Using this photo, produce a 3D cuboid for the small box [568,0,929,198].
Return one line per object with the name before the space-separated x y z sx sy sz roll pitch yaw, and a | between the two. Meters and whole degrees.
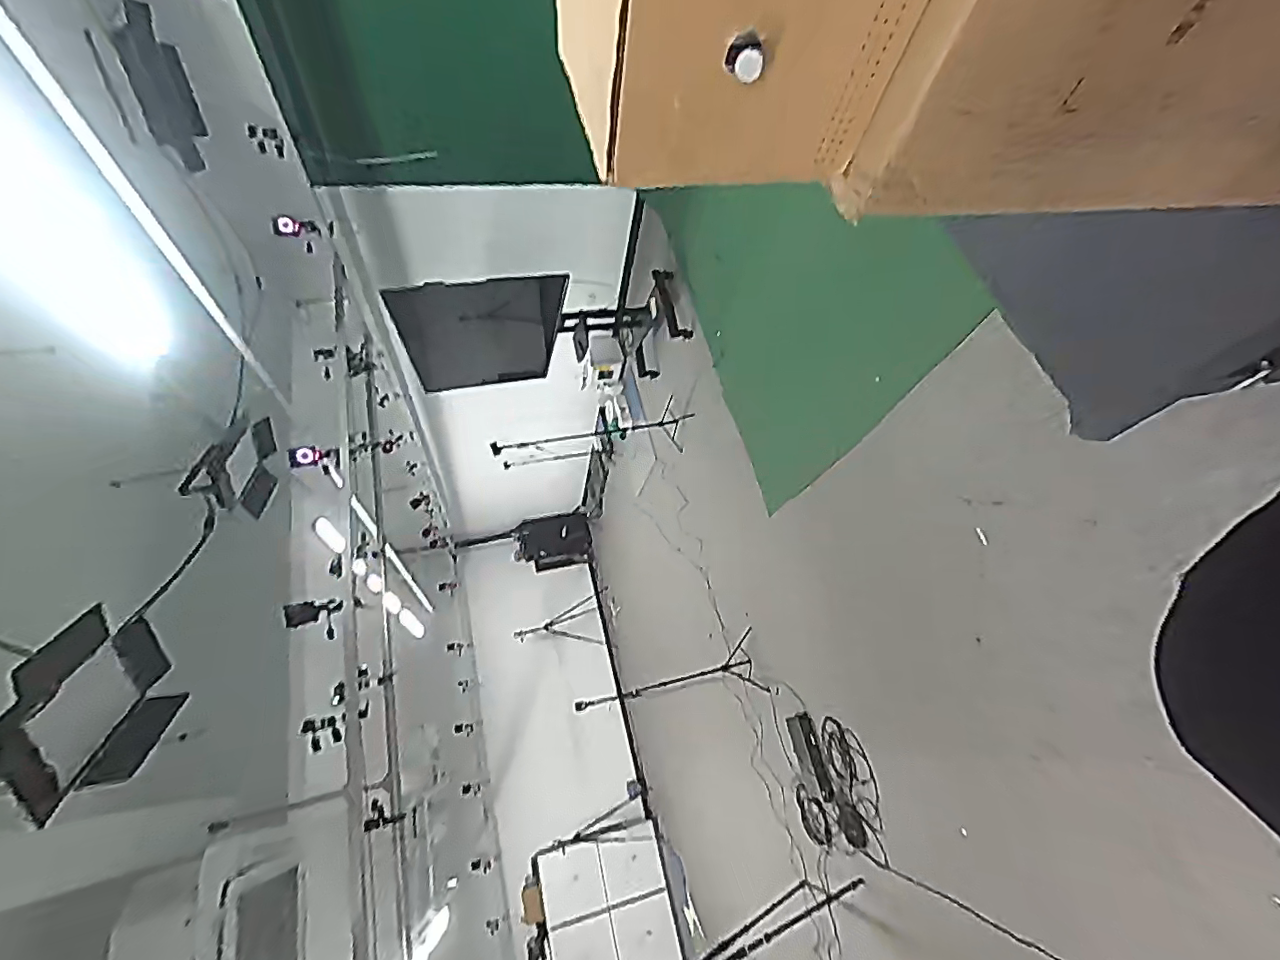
small box | 0.056 -0.301 0.320 0.179 0.176 0.168 103 152 -60
